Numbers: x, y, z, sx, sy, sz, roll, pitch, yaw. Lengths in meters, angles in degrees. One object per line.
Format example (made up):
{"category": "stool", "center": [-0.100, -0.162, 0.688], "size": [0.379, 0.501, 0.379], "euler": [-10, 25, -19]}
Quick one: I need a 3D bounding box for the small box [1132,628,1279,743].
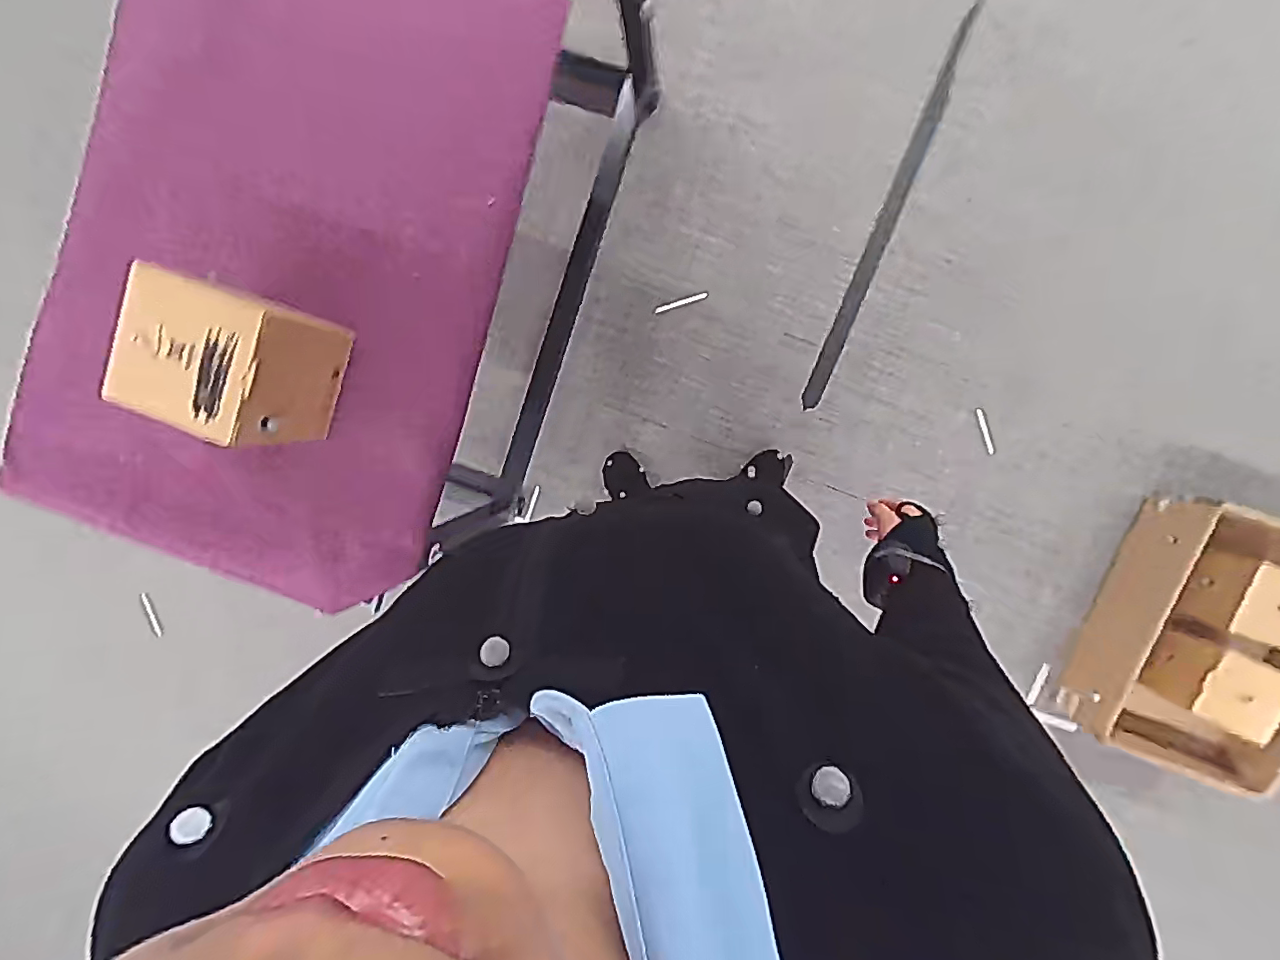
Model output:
{"category": "small box", "center": [1.363, 0.481, 1.296], "size": [0.179, 0.176, 0.168], "euler": [25, 96, 3]}

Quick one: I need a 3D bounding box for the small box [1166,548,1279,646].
{"category": "small box", "center": [1.415, 0.271, 1.268], "size": [0.179, 0.176, 0.168], "euler": [18, 99, 3]}
